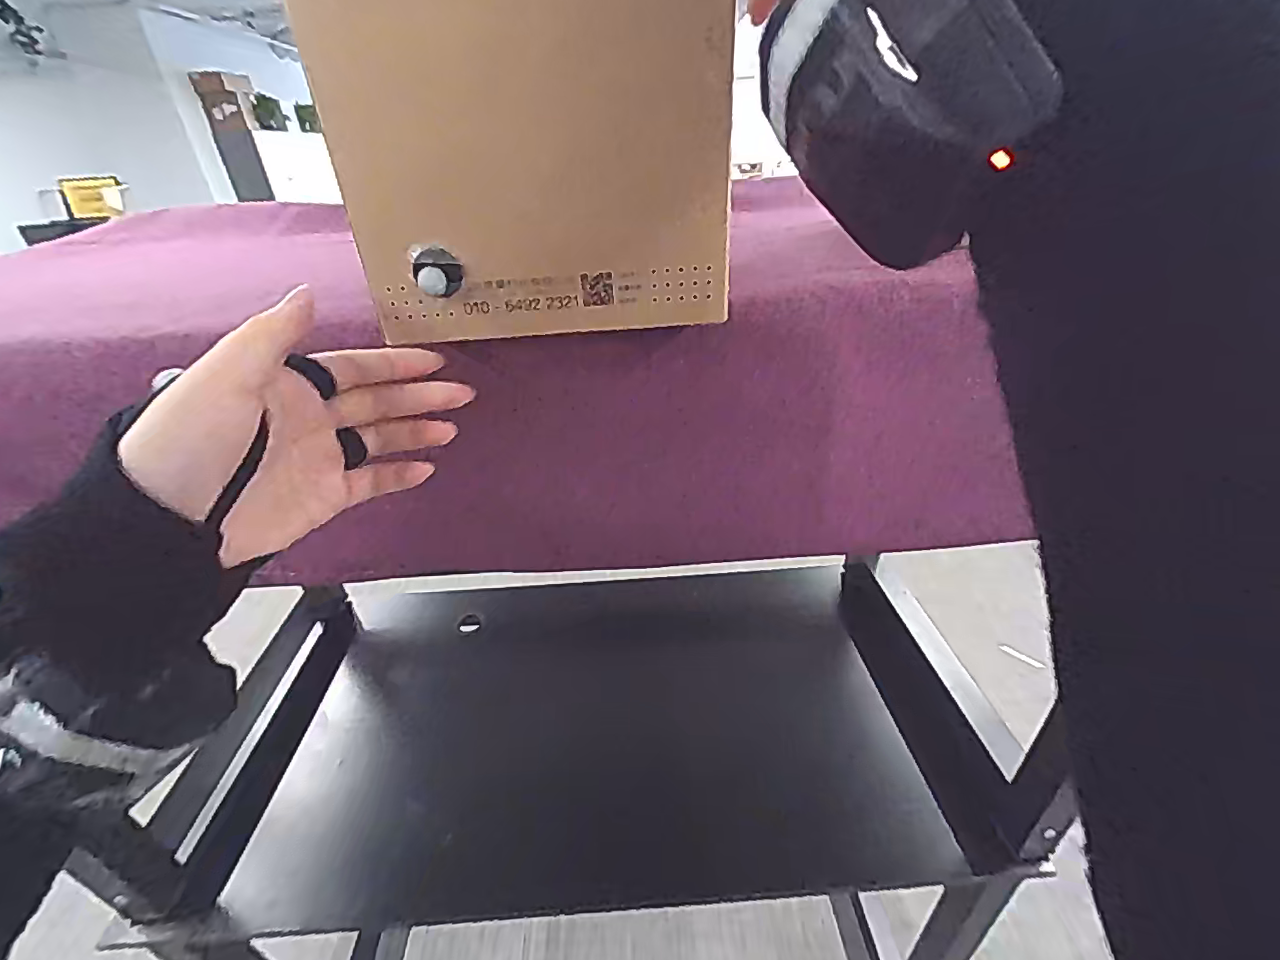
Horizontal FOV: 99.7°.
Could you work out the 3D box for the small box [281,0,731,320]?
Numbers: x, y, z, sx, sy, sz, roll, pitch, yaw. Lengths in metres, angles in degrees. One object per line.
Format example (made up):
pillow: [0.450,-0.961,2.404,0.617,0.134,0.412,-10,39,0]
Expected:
small box: [-0.047,-0.184,0.278,0.168,0.176,0.179,-4,31,-1]
